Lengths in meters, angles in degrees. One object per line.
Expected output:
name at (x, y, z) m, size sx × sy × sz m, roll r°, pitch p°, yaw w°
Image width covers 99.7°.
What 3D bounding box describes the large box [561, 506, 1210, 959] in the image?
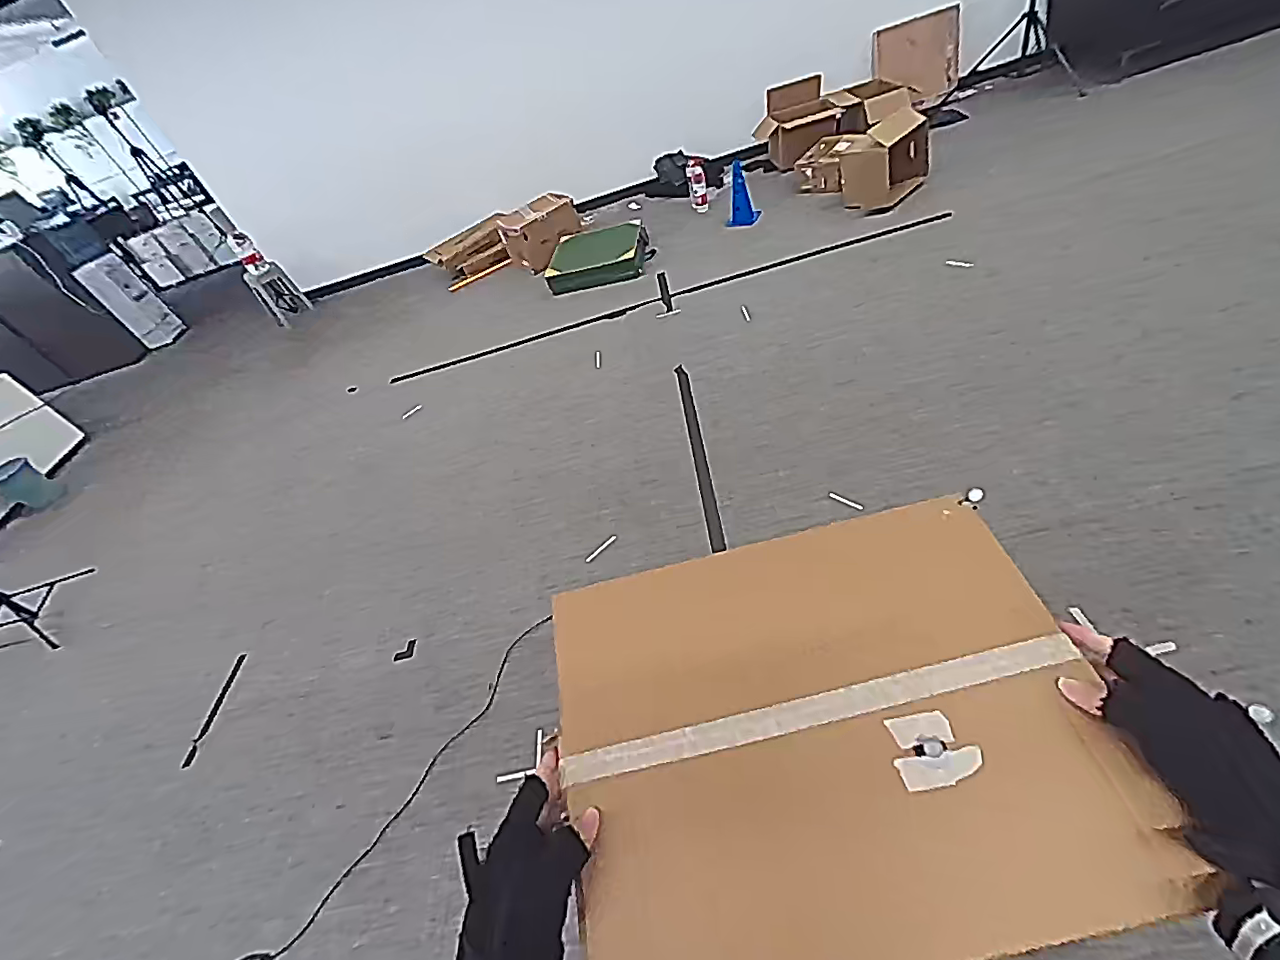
large box at (0.166, 0.281, 0.549) m, size 0.408 × 0.320 × 0.320 m, roll -15°, pitch 51°, yaw 2°
